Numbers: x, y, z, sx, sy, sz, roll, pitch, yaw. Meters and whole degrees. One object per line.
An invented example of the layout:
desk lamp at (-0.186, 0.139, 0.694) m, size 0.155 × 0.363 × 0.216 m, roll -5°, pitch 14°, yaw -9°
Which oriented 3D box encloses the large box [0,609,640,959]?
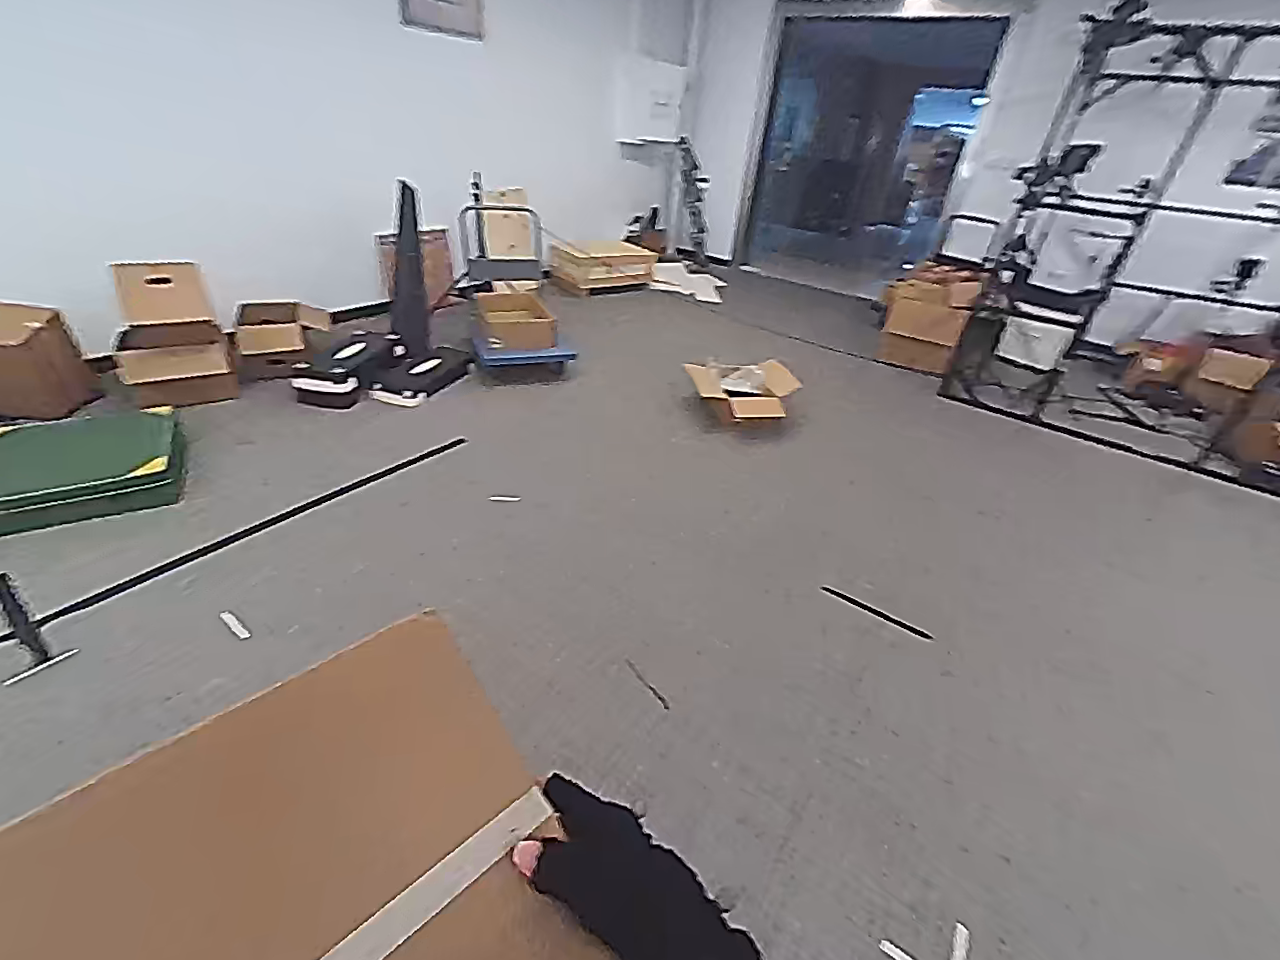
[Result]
large box at (-0.272, 0.362, 0.383) m, size 0.408 × 0.320 × 0.320 m, roll -27°, pitch 77°, yaw -35°
